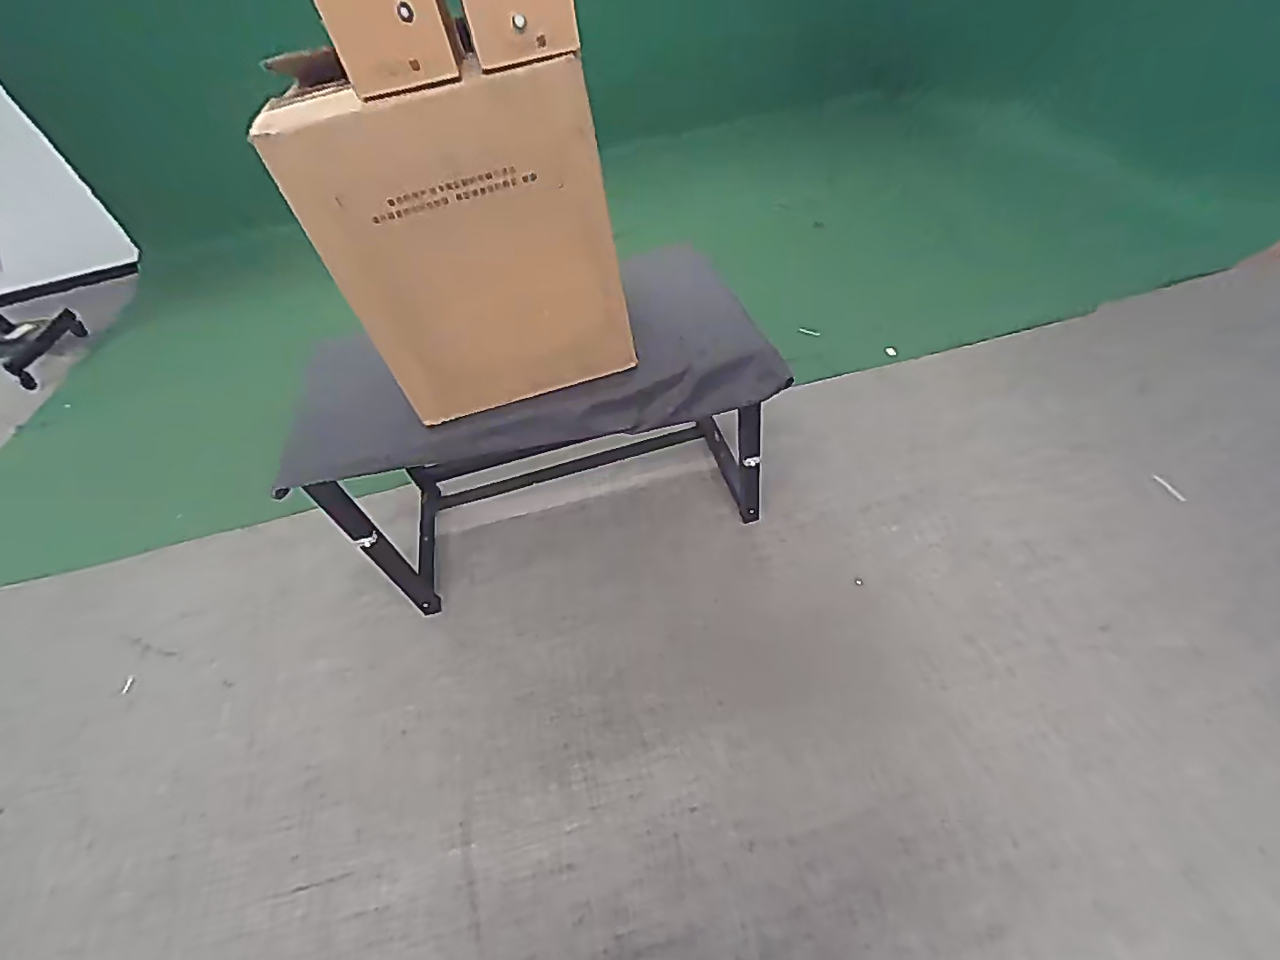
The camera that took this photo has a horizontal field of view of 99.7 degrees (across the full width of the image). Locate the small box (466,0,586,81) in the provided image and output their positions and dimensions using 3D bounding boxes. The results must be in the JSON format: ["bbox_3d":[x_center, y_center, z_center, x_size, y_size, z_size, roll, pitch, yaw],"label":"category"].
[{"bbox_3d":[-0.193,-0.769,0.868,0.168,0.176,0.179,-16,49,-4],"label":"small box"}]
